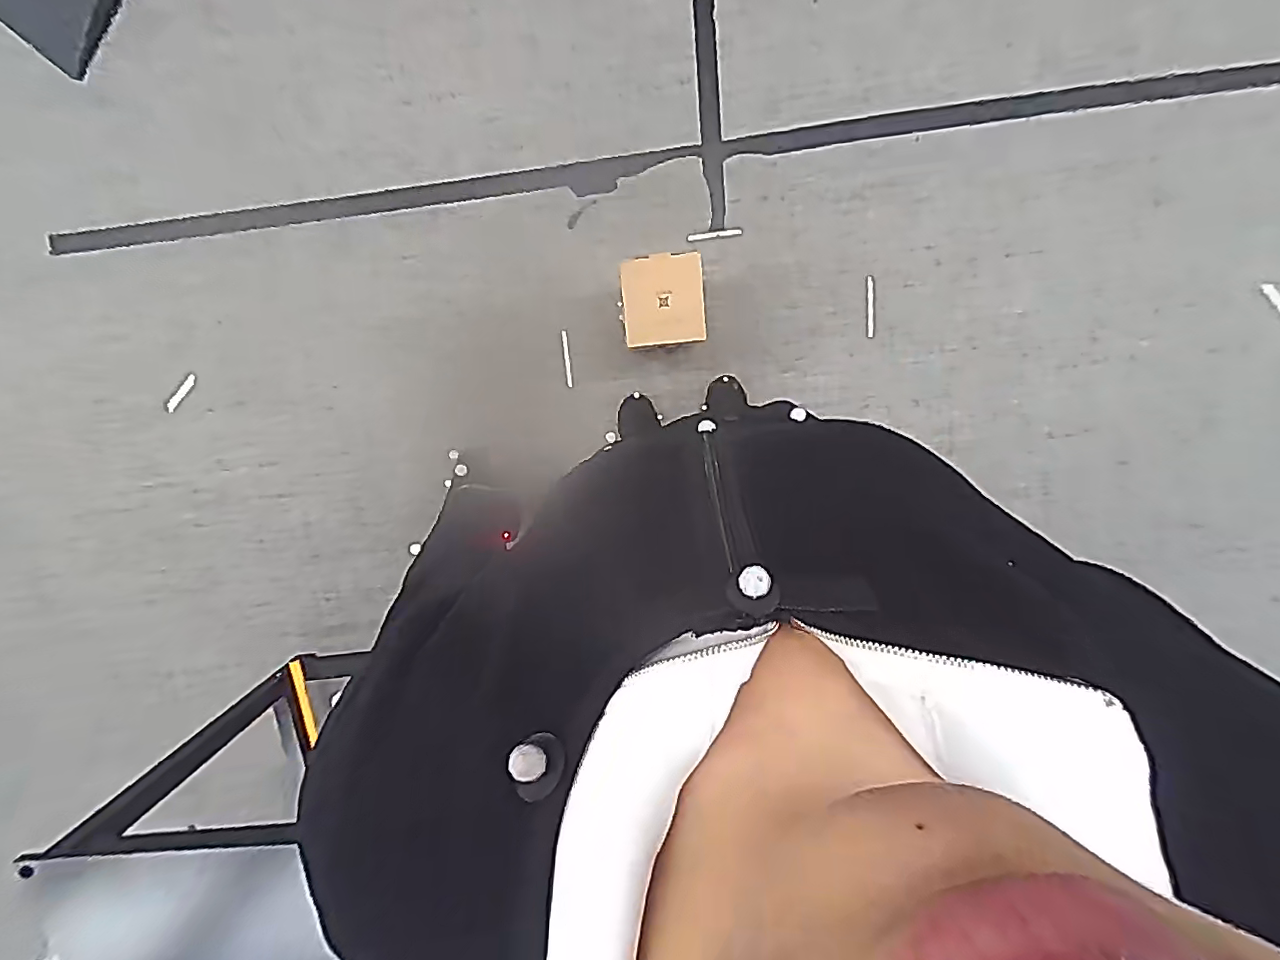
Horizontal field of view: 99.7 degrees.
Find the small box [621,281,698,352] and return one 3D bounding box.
[{"bbox_3d":[0.048,-0.410,1.346,0.179,0.176,0.168,-4,101,3],"label":"small box"}]

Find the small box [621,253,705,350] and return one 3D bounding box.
[{"bbox_3d":[0.050,-0.382,1.185,0.168,0.176,0.179,-5,103,4],"label":"small box"}]
